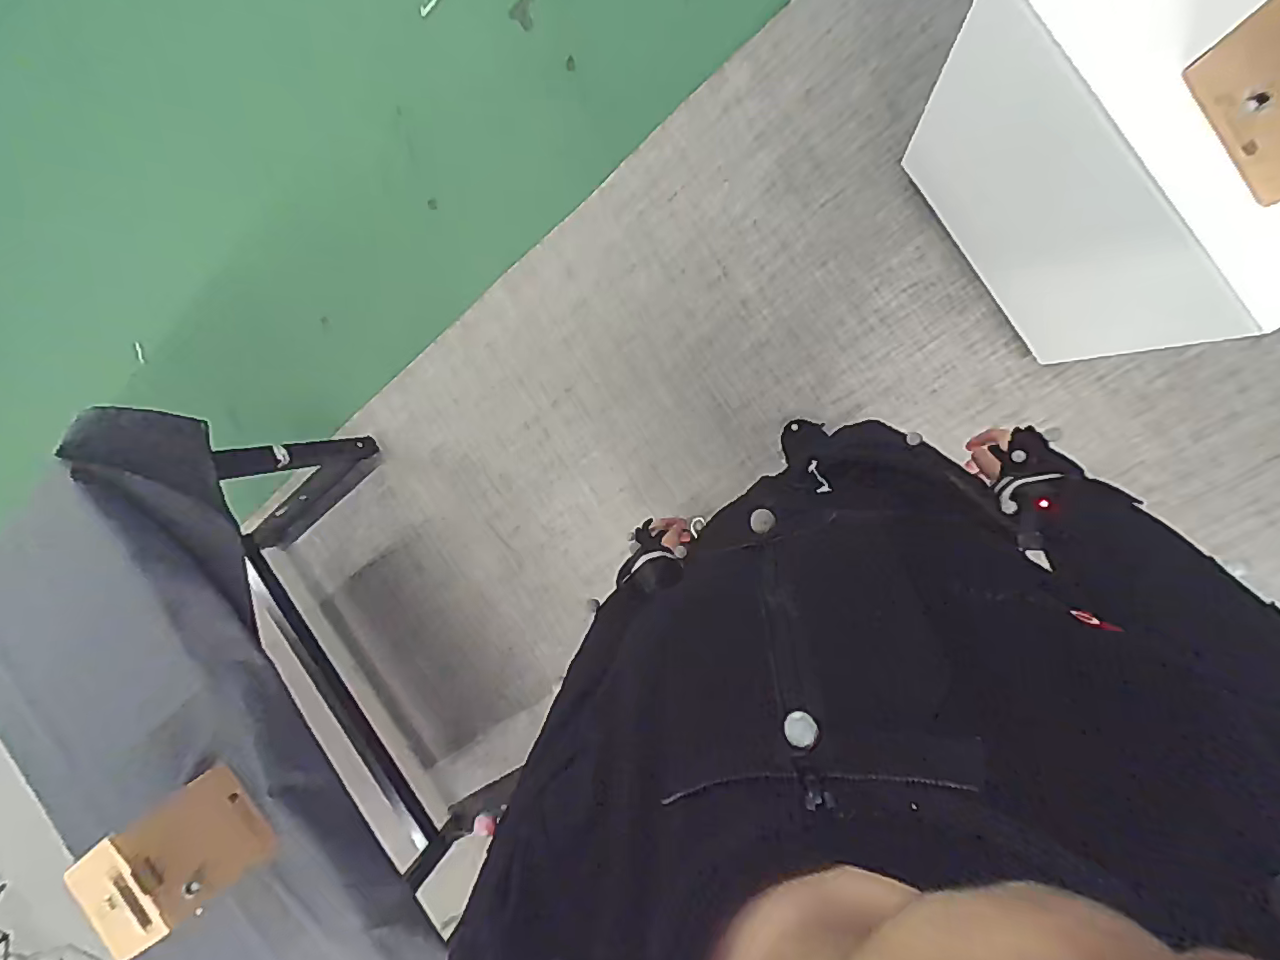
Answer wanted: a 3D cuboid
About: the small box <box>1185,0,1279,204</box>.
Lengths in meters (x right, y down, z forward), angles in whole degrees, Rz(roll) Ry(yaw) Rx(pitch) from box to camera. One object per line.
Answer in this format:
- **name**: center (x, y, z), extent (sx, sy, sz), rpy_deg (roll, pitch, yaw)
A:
- **small box**: center (0.654, -0.381, 0.464), extent (0.179, 0.176, 0.168), rpy_deg (-31, 89, 18)
